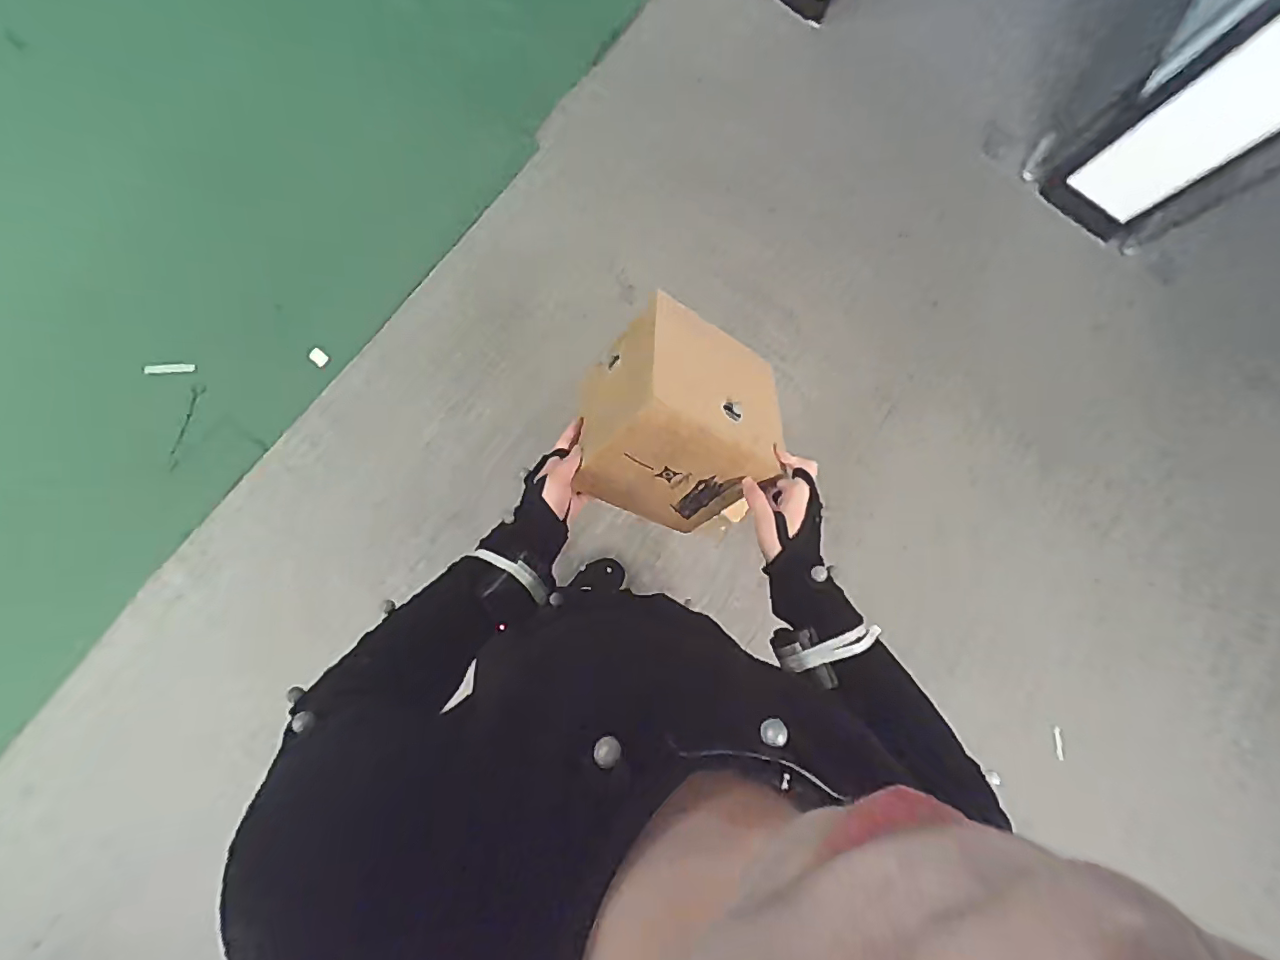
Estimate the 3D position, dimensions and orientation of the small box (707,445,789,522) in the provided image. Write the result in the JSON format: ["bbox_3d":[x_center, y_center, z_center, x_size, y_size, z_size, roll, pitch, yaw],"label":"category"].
[{"bbox_3d":[0.175,-0.023,1.150,0.179,0.176,0.168,43,81,1],"label":"small box"}]

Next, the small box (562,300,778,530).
[{"bbox_3d":[0.034,-0.071,0.621,0.179,0.168,0.176,24,49,-26],"label":"small box"}]
